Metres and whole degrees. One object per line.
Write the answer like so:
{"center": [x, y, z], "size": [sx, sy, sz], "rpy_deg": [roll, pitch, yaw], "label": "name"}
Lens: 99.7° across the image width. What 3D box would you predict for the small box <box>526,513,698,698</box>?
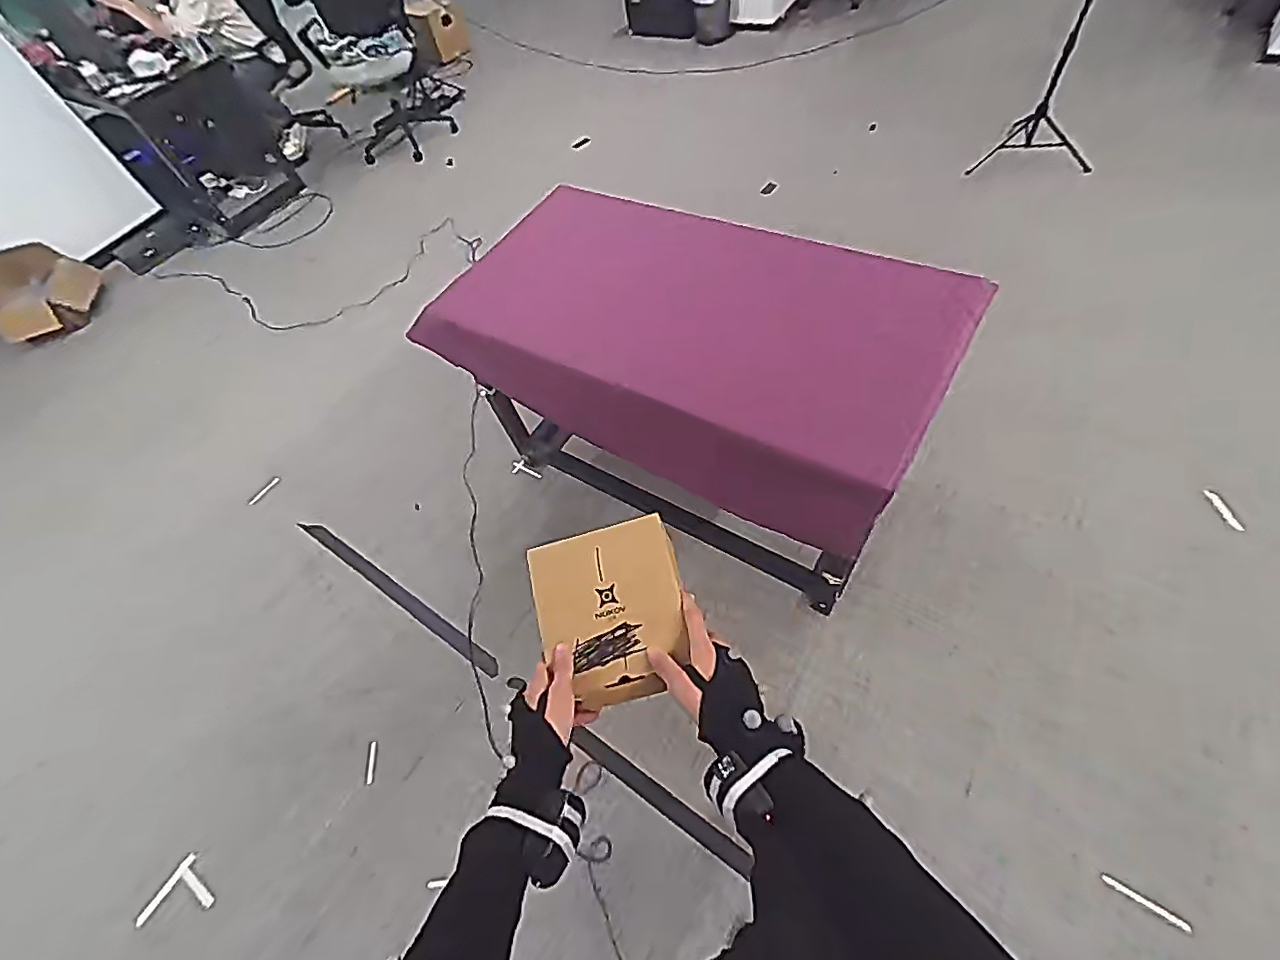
{"center": [-0.027, 0.165, 0.689], "size": [0.168, 0.176, 0.179], "rpy_deg": [-16, 68, 2], "label": "small box"}
